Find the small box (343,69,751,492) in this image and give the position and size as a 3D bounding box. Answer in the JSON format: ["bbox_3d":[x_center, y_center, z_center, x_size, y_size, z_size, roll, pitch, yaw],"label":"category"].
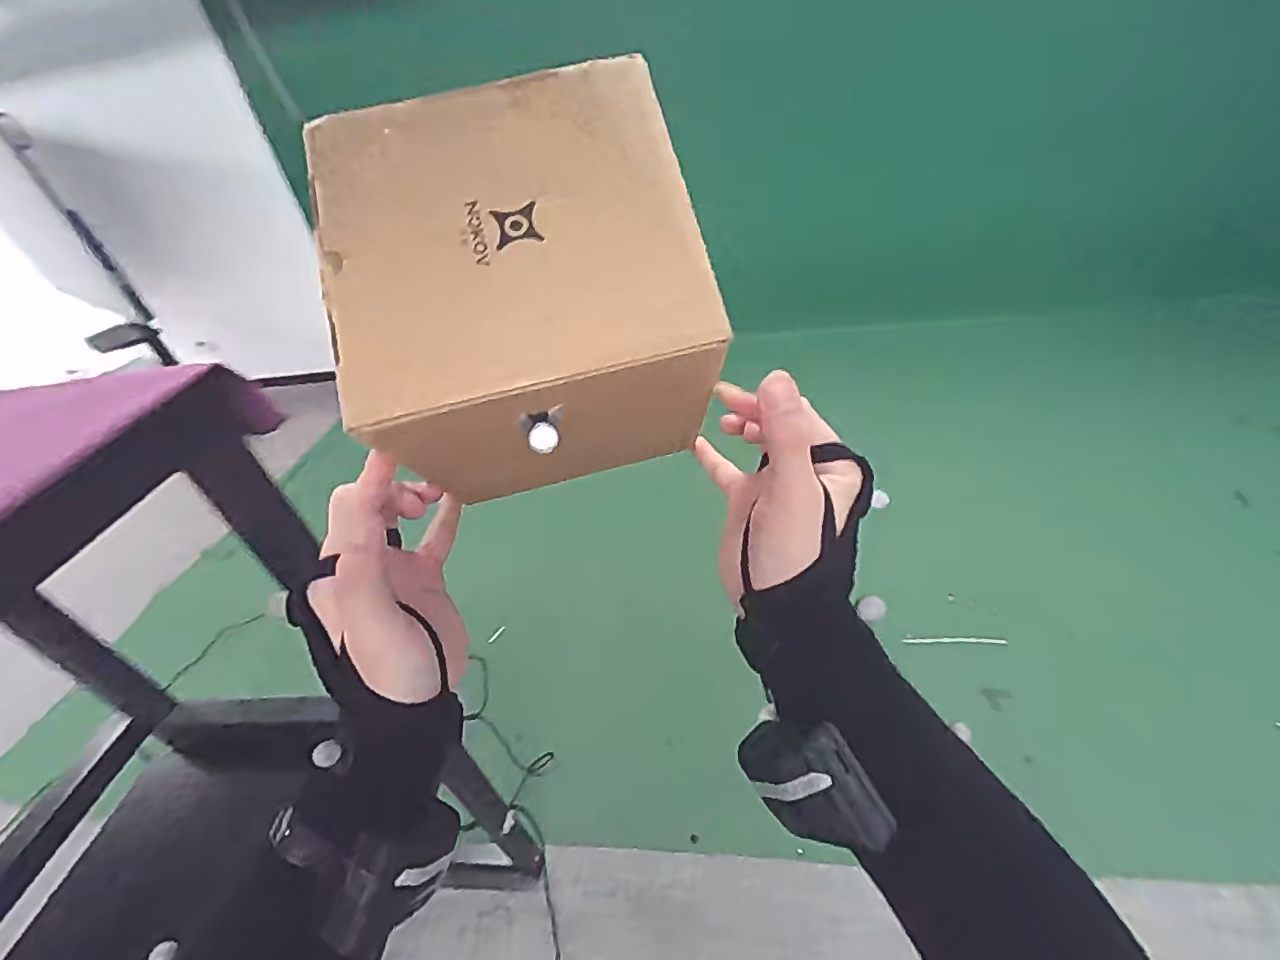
[{"bbox_3d":[-0.049,-0.102,0.342,0.179,0.176,0.168,-14,77,-2],"label":"small box"}]
